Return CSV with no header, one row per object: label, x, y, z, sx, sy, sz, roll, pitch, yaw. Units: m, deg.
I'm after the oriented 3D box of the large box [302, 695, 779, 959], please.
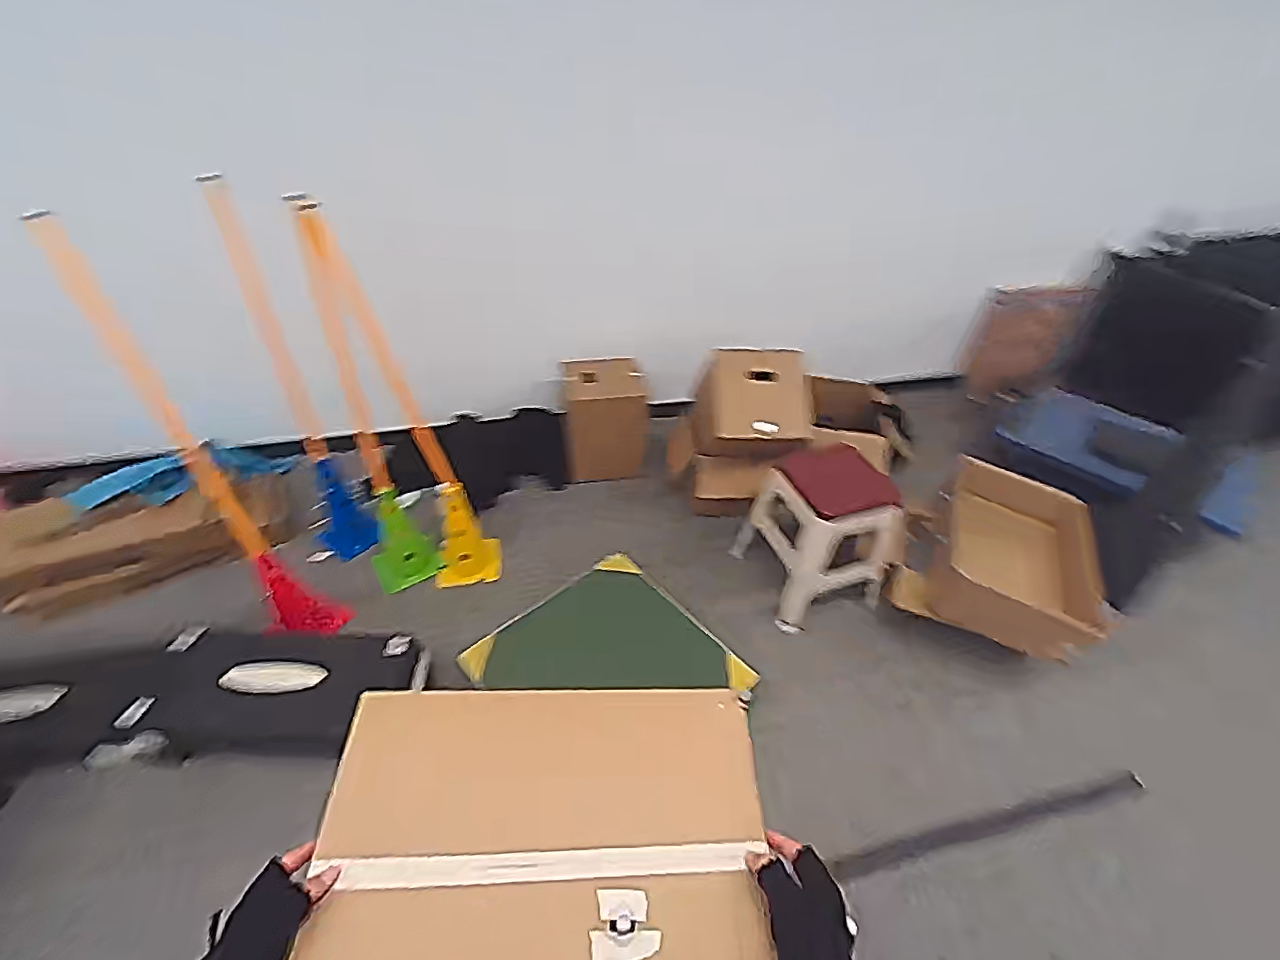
large box,-0.095,0.454,0.603,0.408,0.320,0.320,2,48,-5
